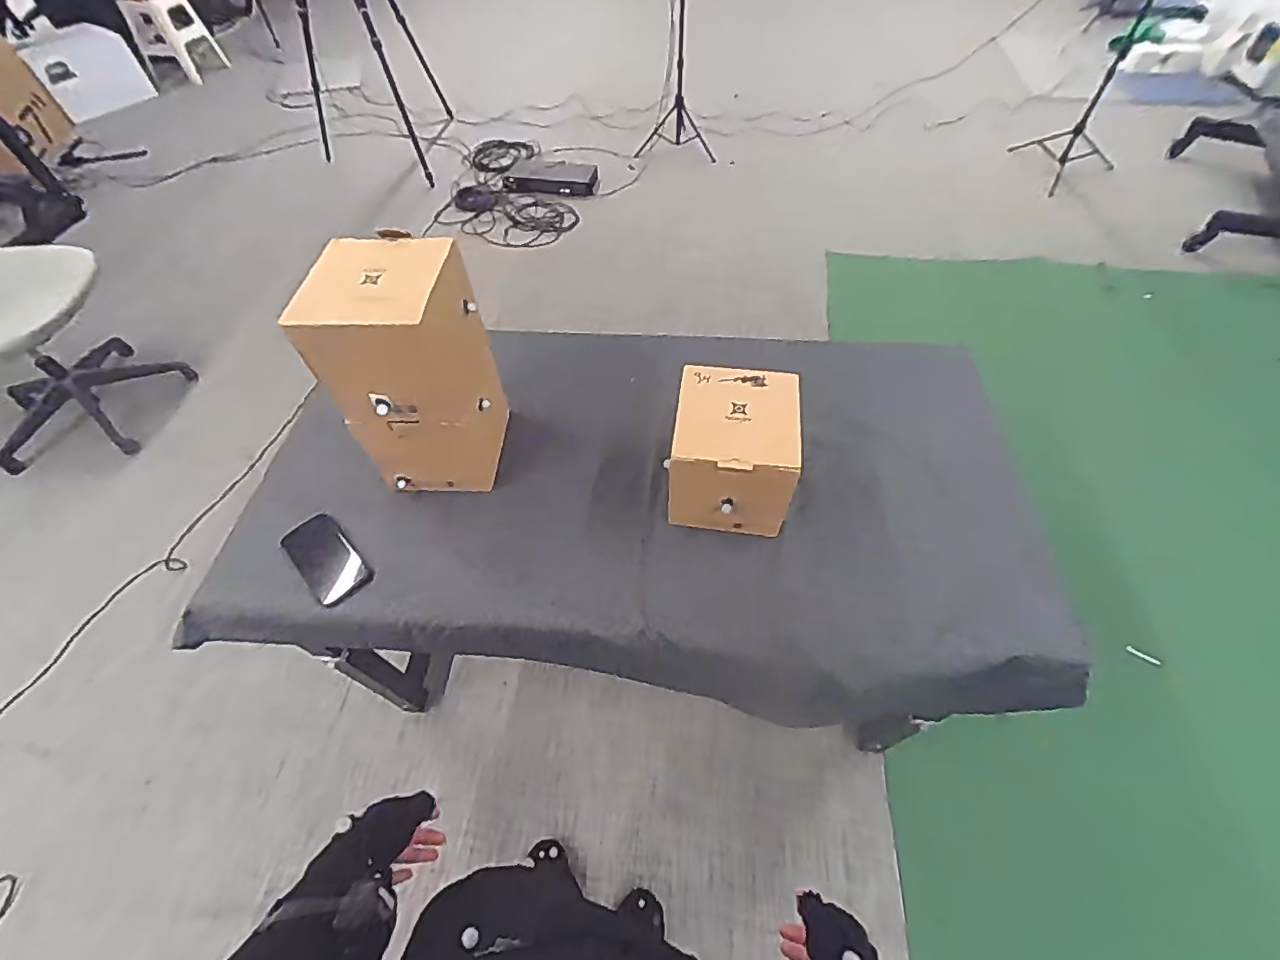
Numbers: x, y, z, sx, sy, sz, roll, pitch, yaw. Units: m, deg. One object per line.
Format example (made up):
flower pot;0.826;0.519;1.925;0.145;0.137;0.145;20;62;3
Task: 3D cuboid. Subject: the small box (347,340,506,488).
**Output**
small box;-0.318;-0.101;0.852;0.168;0.176;0.179;1;54;2

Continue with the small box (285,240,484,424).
small box;-0.318;-0.195;0.721;0.168;0.176;0.179;0;56;2

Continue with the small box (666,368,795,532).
small box;0.130;-0.040;0.800;0.168;0.176;0.179;6;55;6
